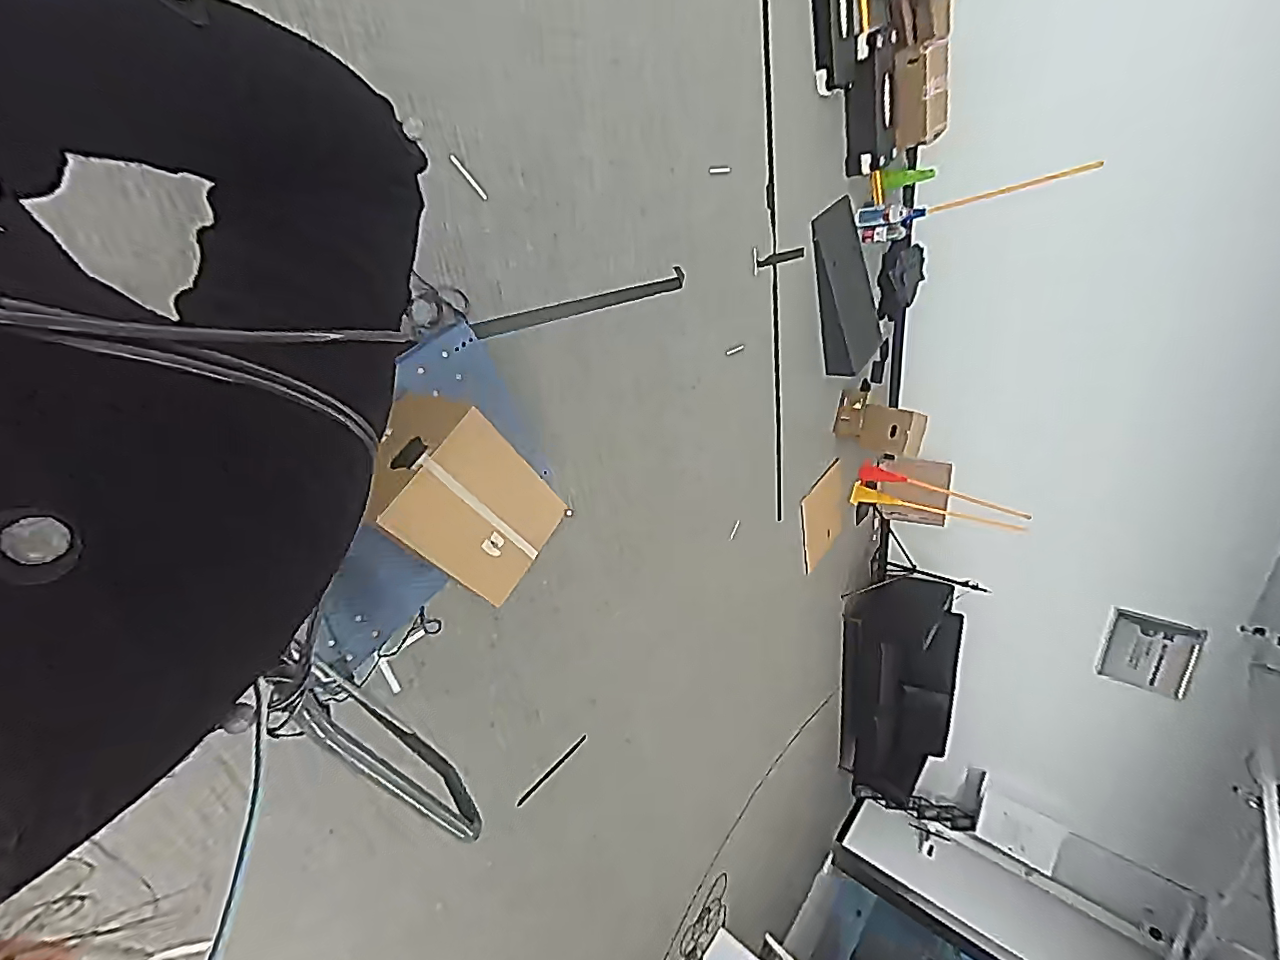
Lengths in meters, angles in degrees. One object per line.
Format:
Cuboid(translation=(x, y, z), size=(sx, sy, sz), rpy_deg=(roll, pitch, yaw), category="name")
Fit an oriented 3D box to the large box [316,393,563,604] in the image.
Cuboid(translation=(-0.474, 0.042, 1.326), size=(0.320, 0.320, 0.408), rpy_deg=(-56, 138, -20), category="large box")
